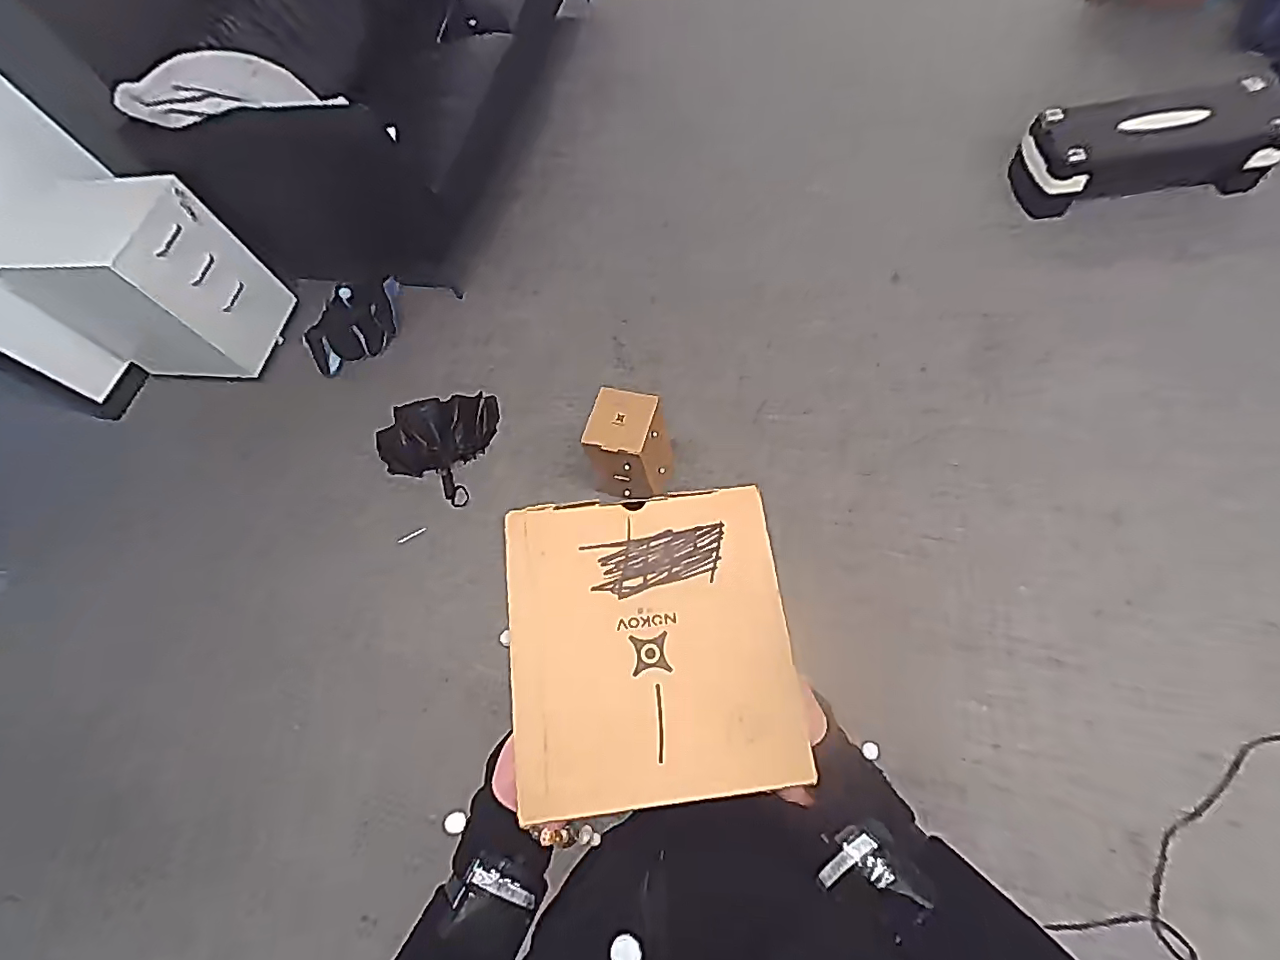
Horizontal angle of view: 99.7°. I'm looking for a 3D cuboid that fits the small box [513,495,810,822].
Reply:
[{"bbox_3d":[0.003,0.123,0.399,0.168,0.176,0.179,-5,72,-4],"label":"small box"}]
